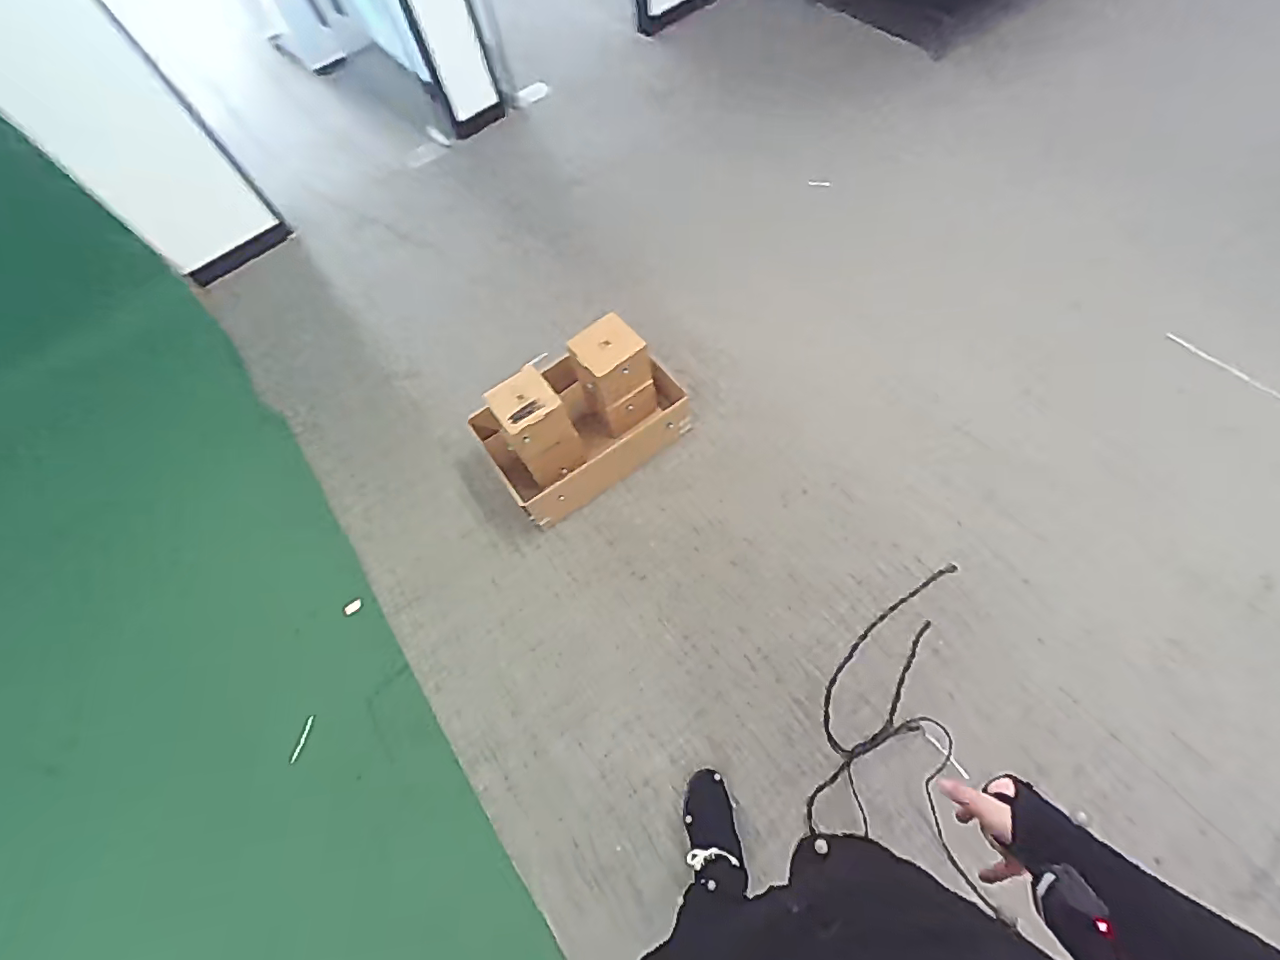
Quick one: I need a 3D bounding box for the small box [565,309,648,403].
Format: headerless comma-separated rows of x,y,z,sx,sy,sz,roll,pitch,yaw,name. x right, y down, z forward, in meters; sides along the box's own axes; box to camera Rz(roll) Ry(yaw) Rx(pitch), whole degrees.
-0.092,-0.360,1.604,0.179,0.176,0.168,-37,67,-11,small box
